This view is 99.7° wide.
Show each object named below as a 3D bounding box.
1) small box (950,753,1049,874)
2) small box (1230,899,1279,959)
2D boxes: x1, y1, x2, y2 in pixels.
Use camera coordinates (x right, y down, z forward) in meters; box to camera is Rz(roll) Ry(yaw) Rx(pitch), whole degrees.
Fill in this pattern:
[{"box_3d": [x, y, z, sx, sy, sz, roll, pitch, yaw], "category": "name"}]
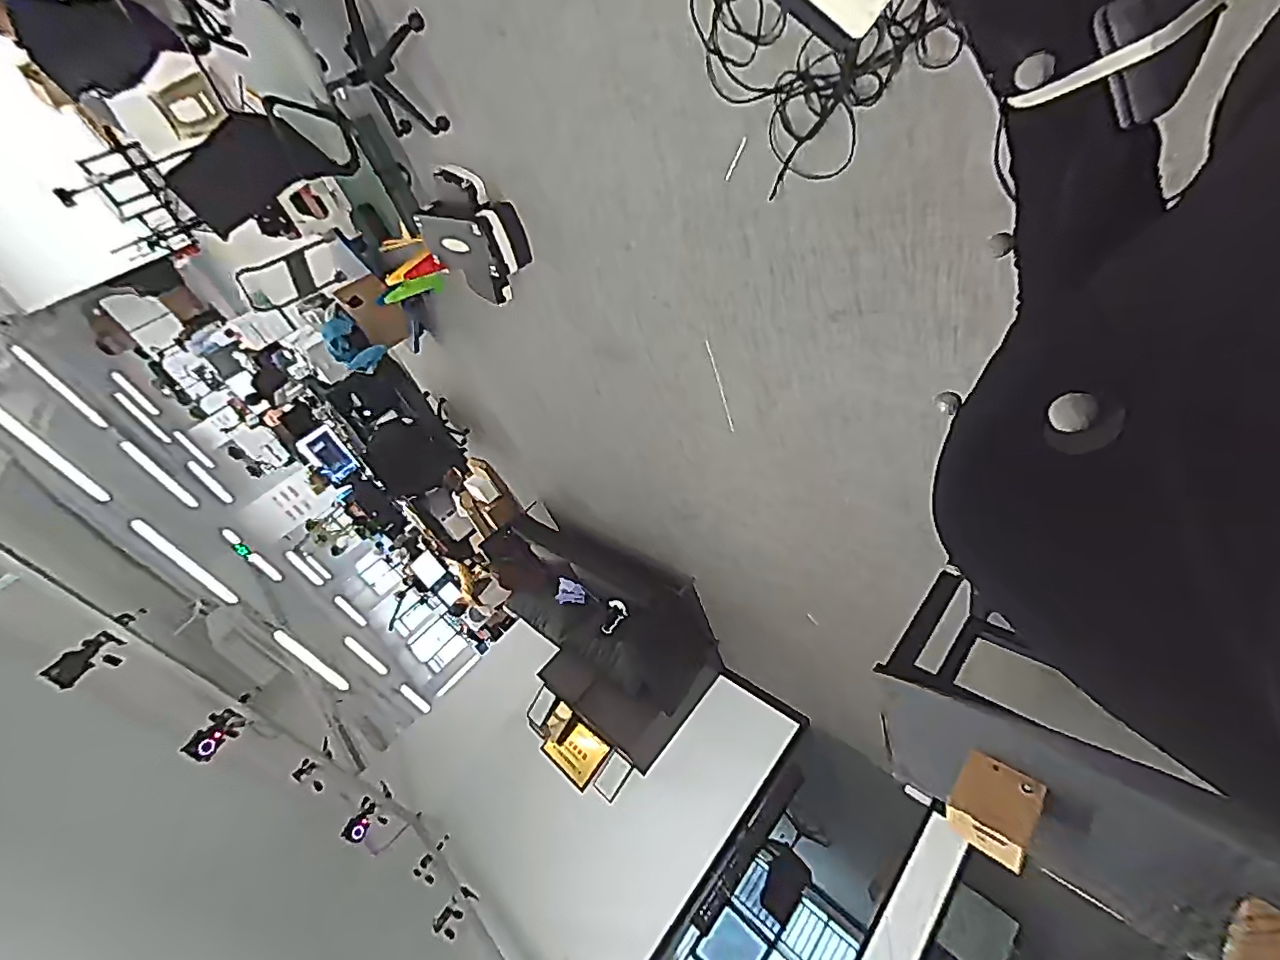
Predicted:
[{"box_3d": [0.901, 0.829, 1.357, 0.168, 0.176, 0.179, 19, 145, 44], "category": "small box"}, {"box_3d": [1.233, 0.940, 1.005, 0.168, 0.176, 0.179, 16, 141, 47], "category": "small box"}]
